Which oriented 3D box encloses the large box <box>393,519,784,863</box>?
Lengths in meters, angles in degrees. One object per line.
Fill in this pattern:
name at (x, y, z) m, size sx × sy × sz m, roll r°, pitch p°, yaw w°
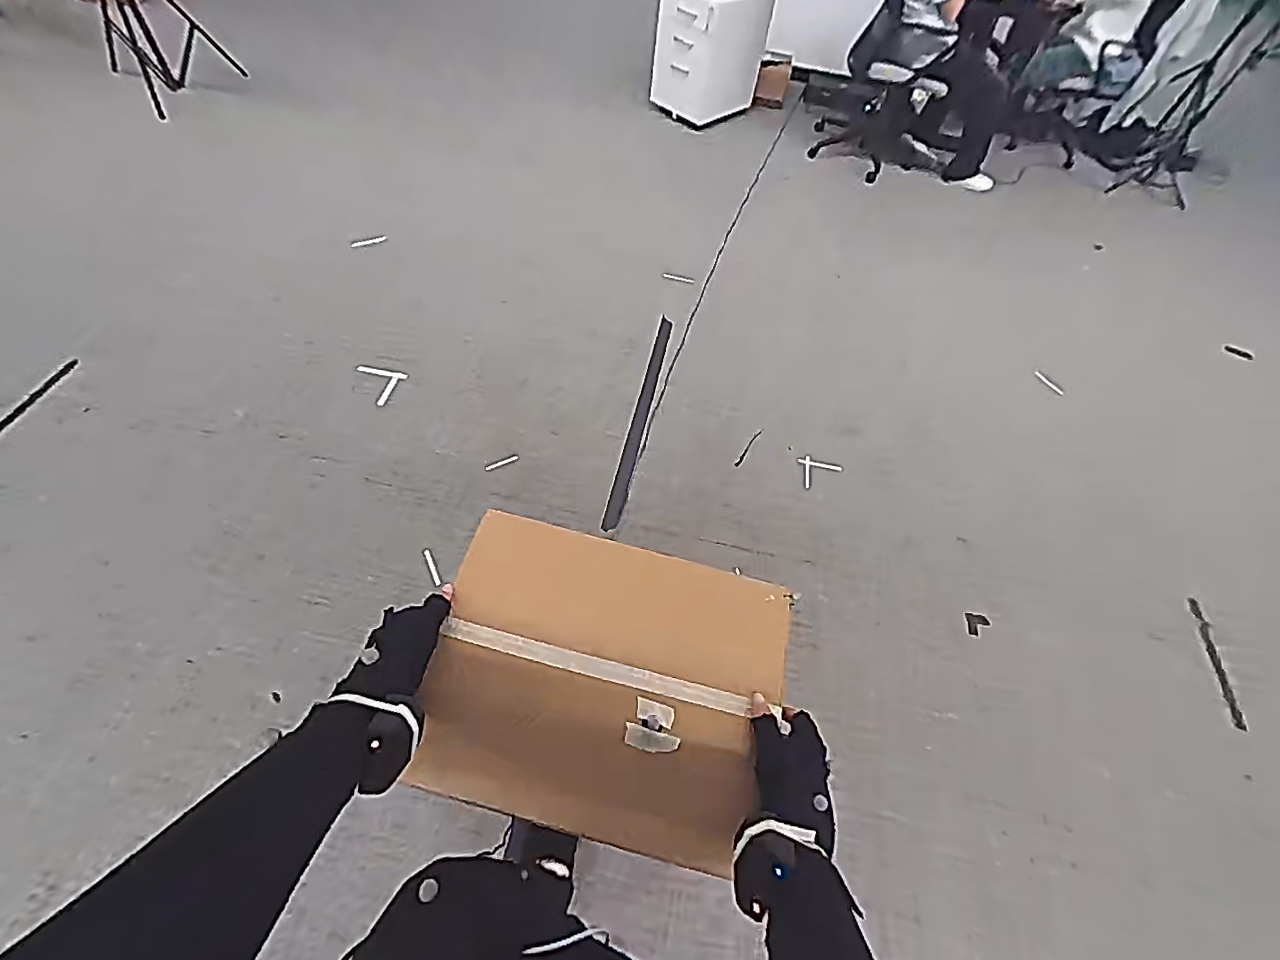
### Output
large box at (-0.051, 0.298, 0.758) m, size 0.408 × 0.320 × 0.320 m, roll 14°, pitch 58°, yaw 2°
